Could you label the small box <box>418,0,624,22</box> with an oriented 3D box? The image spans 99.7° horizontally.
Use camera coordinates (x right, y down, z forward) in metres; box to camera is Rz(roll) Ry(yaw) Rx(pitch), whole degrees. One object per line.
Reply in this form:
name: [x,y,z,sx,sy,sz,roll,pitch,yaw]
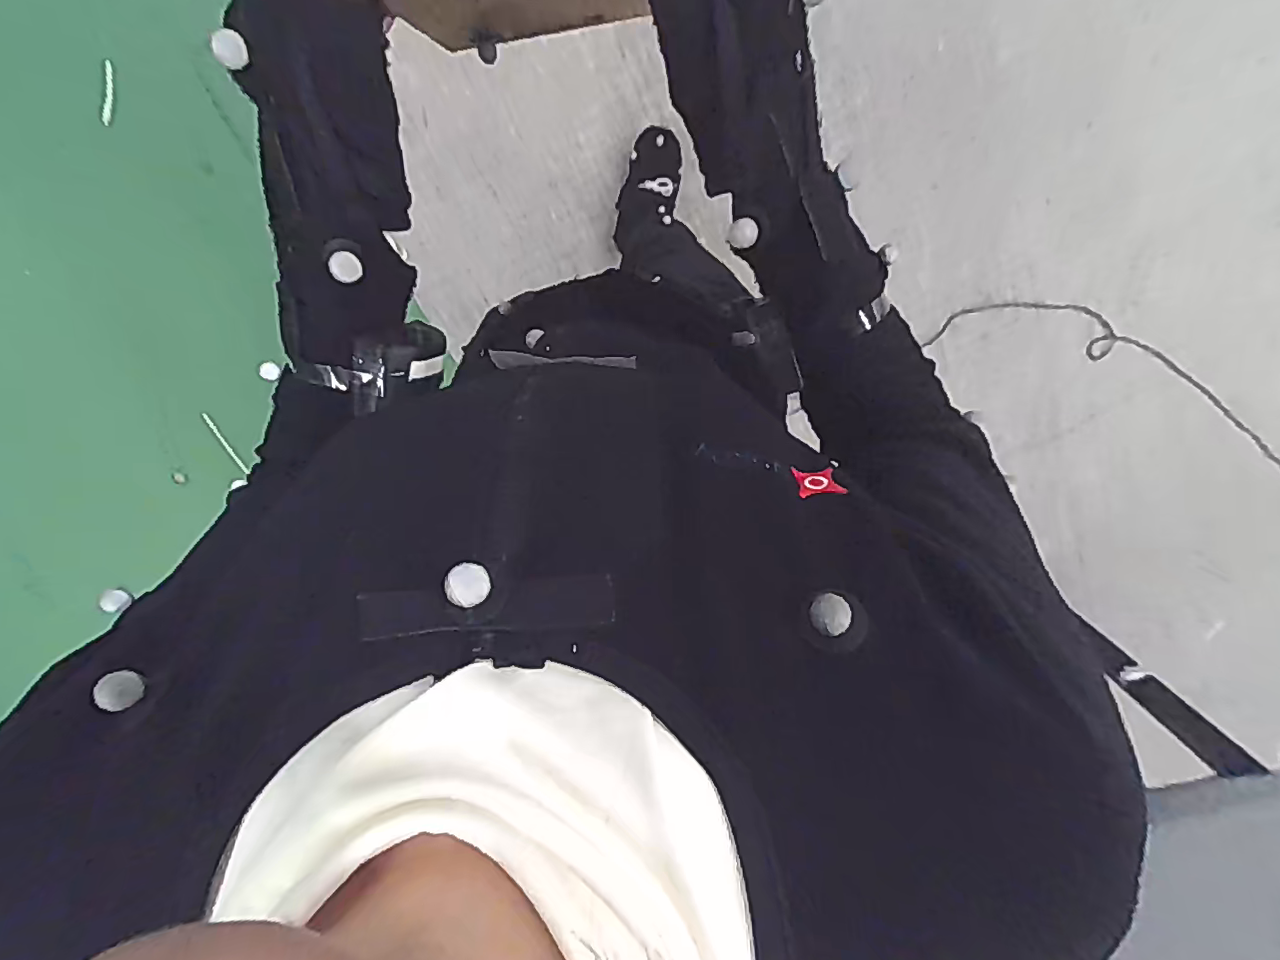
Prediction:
small box: [-0.062,-0.346,0.252,0.168,0.176,0.179,-7,119,4]
